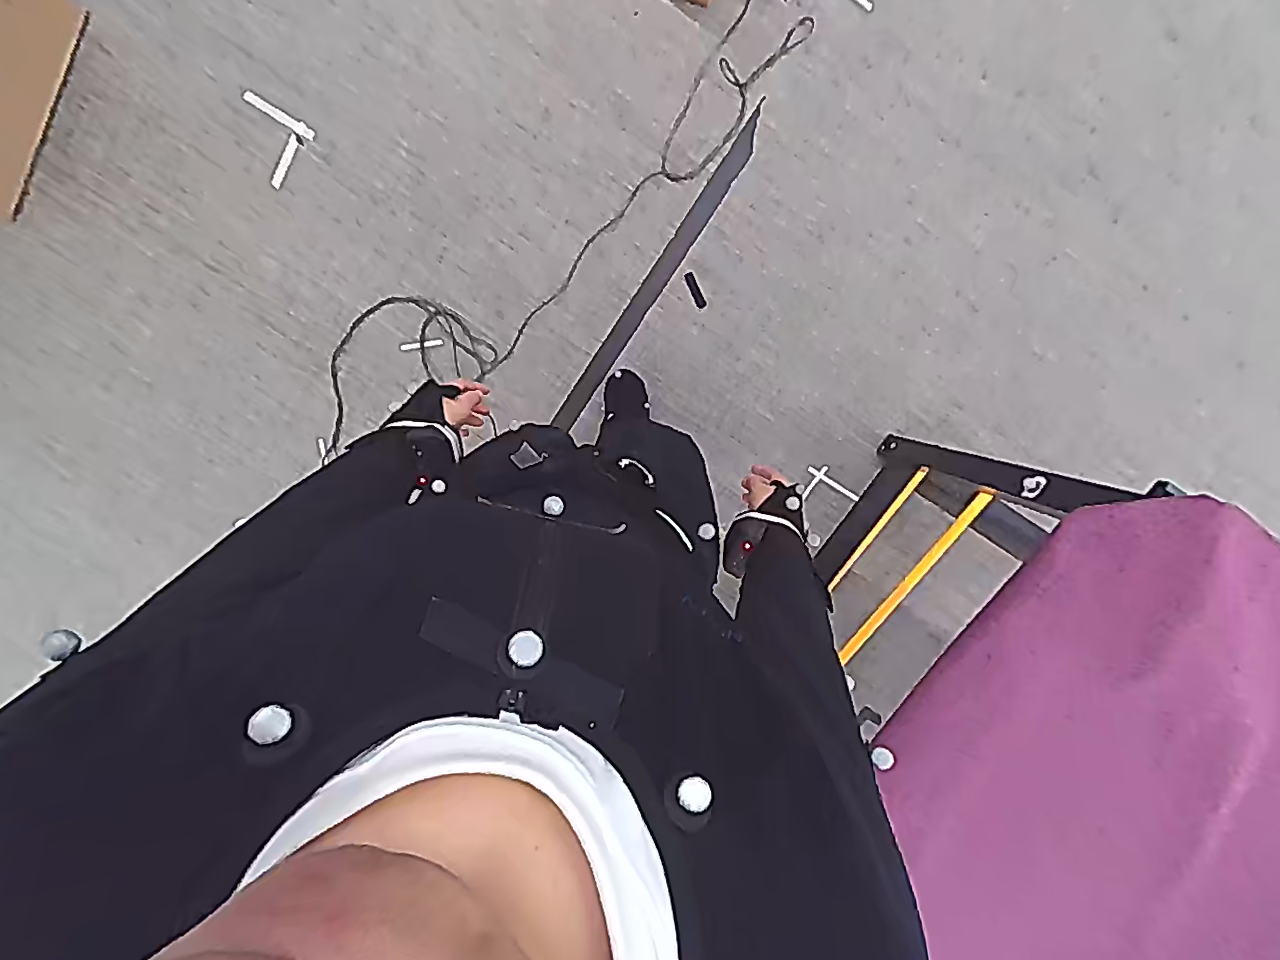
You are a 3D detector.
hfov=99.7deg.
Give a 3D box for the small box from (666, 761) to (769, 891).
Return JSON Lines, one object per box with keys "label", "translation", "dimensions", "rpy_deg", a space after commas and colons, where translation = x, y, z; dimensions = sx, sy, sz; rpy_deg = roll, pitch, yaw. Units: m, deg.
{"label": "small box", "translation": [0.176, 0.818, 1.302], "dimensions": [0.179, 0.176, 0.168], "rpy_deg": [34, 99, -5]}
